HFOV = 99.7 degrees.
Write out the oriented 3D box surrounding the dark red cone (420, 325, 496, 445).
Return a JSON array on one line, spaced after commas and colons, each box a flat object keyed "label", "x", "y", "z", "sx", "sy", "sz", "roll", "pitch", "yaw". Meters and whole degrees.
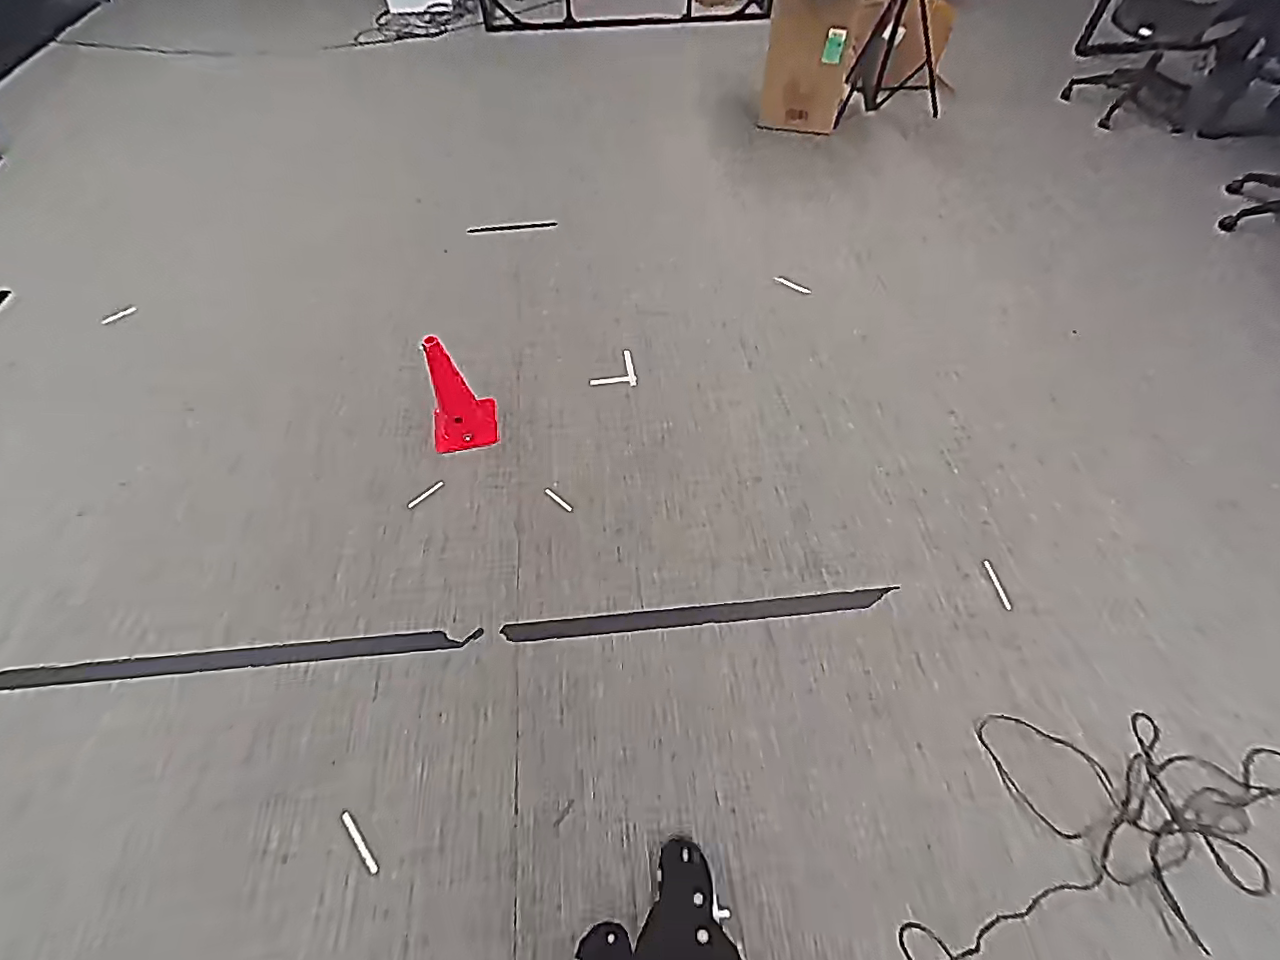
[{"label": "dark red cone", "x": -0.564, "y": -0.289, "z": 1.585, "sx": 0.202, "sy": 0.394, "sz": 0.201, "roll": -12, "pitch": 57, "yaw": -7}]
